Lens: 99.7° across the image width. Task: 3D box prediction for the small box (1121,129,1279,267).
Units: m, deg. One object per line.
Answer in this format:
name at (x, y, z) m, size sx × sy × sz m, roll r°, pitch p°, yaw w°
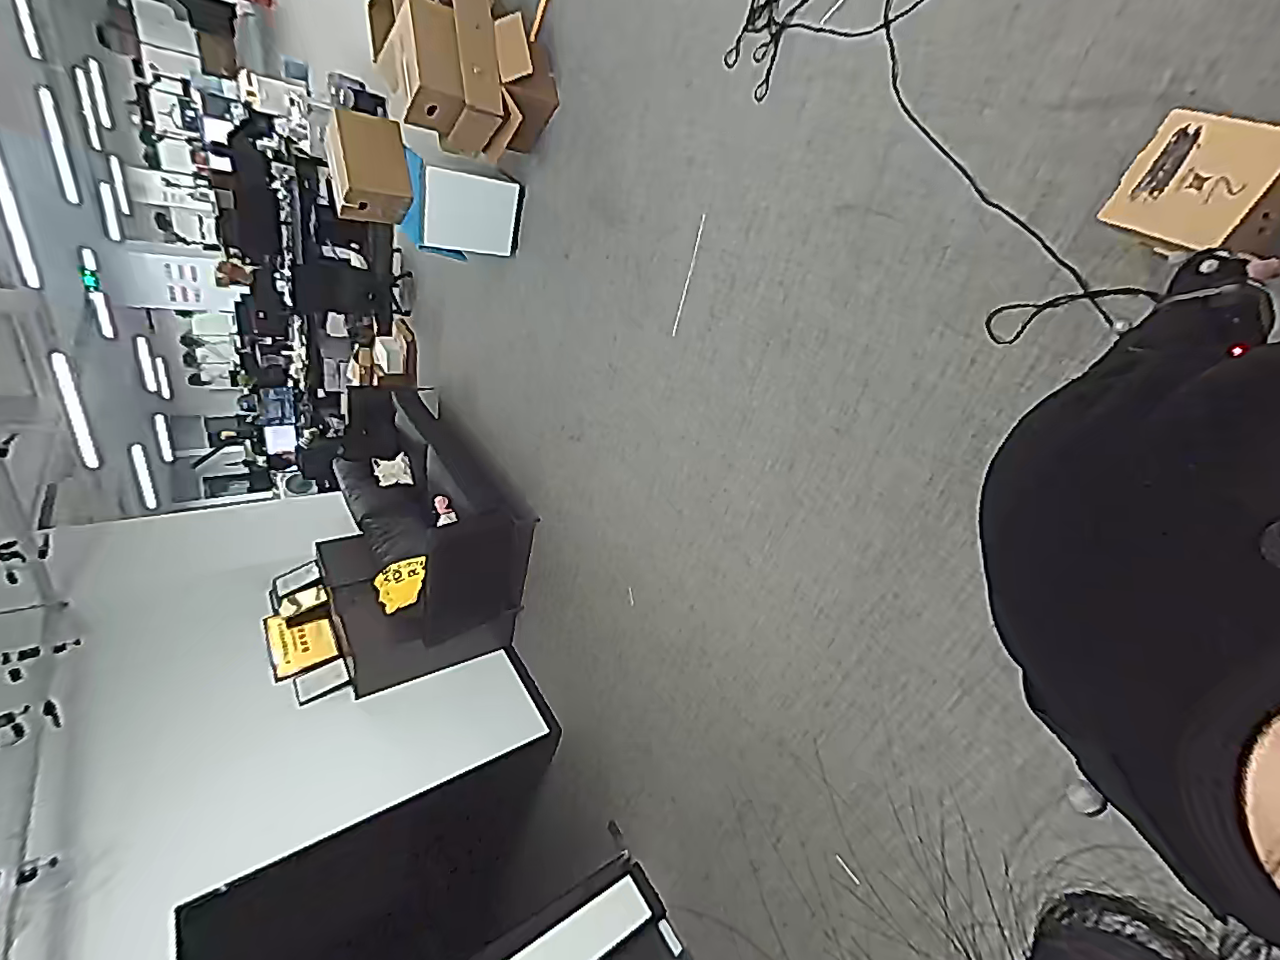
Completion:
small box at (1.040, -0.500, 0.976) m, size 0.168 × 0.176 × 0.179 m, roll 47°, pitch 133°, yaw 36°
